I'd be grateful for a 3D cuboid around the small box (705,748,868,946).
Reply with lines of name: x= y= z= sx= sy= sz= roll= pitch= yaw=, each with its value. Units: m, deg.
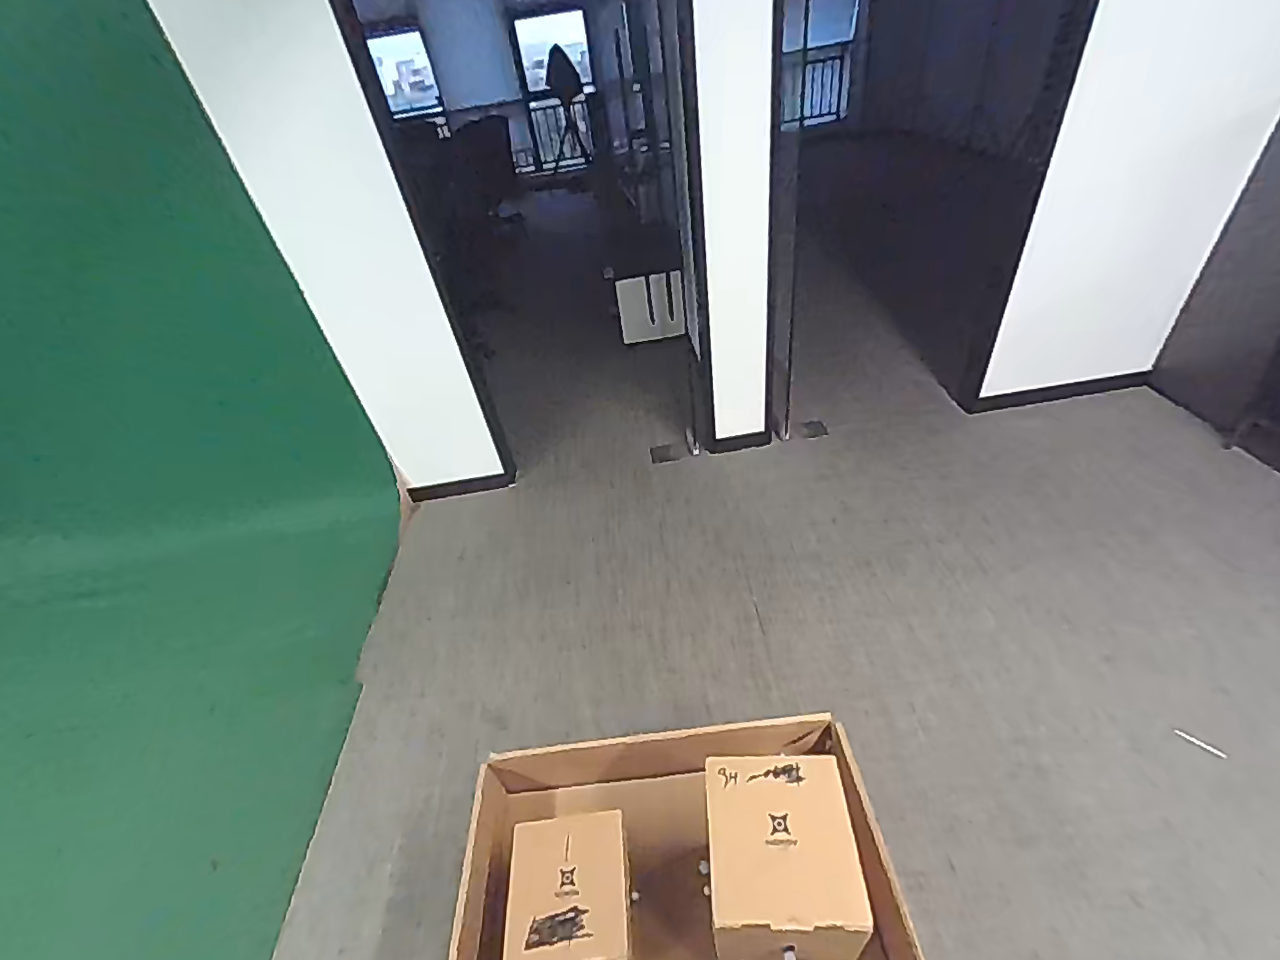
small box: x=0.173 y=0.462 z=0.680 sx=0.168 sy=0.176 sz=0.179 roll=-5 pitch=41 yaw=7
